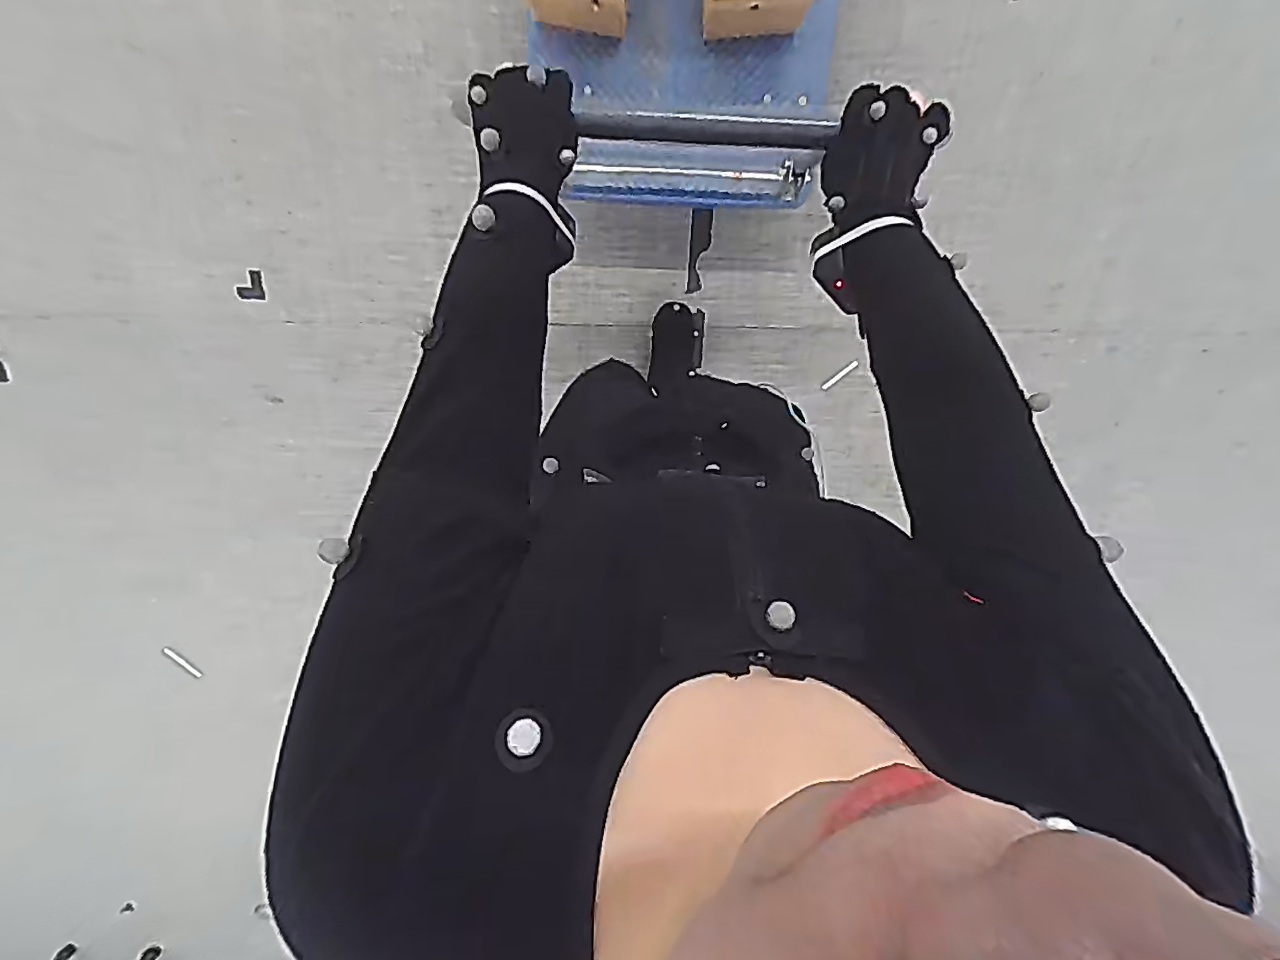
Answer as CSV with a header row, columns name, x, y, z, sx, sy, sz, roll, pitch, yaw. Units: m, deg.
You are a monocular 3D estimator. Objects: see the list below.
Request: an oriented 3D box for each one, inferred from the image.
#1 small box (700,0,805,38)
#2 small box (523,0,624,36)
name,x,y,z,sx,sy,sz,roll,pitch,yaw
small box,0.192,-0.876,0.909,0.179,0.176,0.168,-3,111,2
small box,-0.112,-0.889,0.910,0.179,0.176,0.168,8,111,-4
